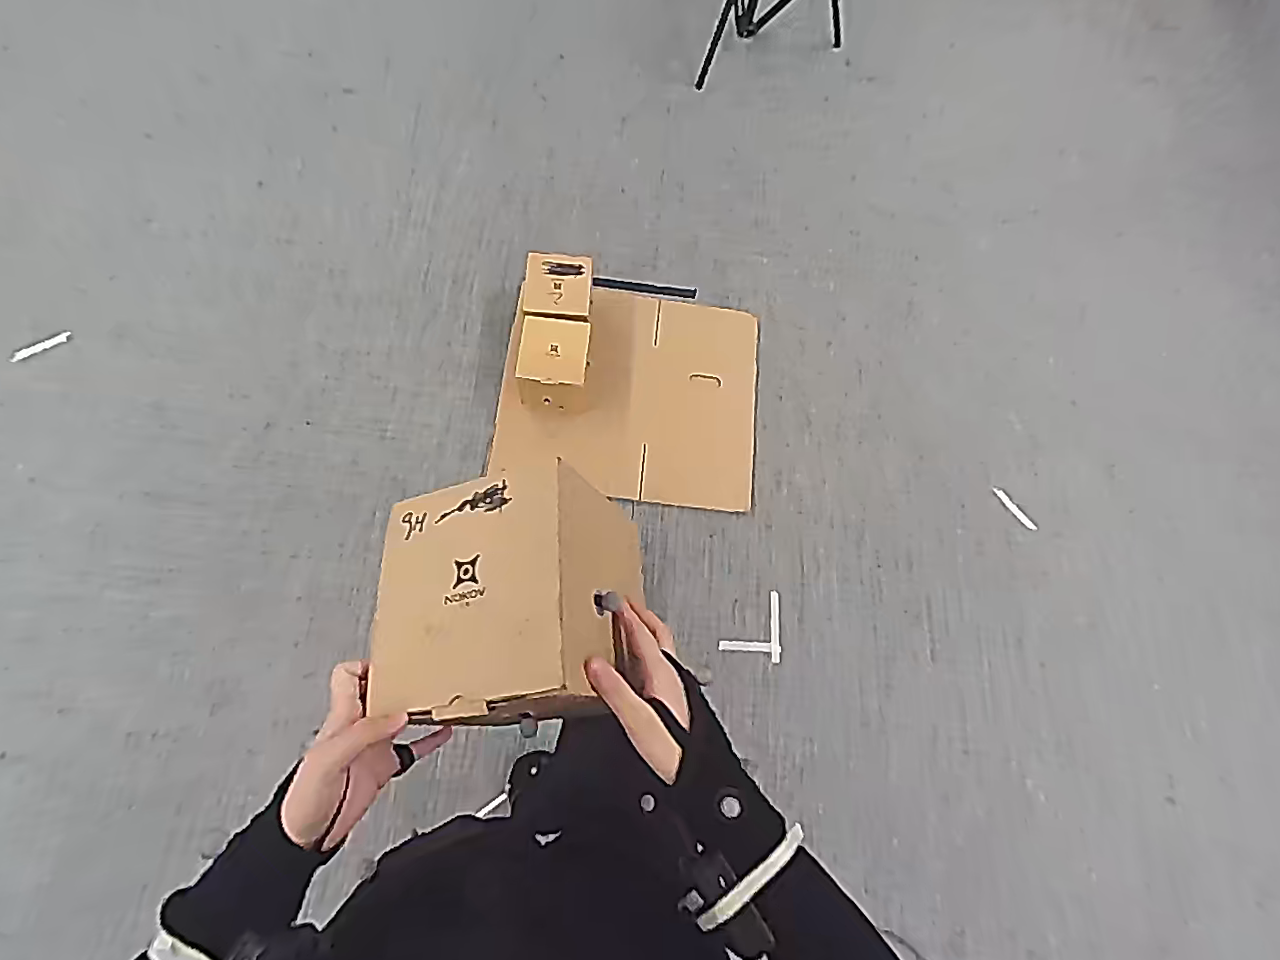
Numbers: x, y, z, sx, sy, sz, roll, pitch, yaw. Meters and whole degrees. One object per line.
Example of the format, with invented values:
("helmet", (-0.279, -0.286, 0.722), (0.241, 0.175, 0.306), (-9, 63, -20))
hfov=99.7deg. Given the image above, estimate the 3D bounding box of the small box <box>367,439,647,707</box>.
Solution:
("small box", (-0.102, 0.094, 0.470), (0.168, 0.176, 0.179), (-15, 63, 15))
